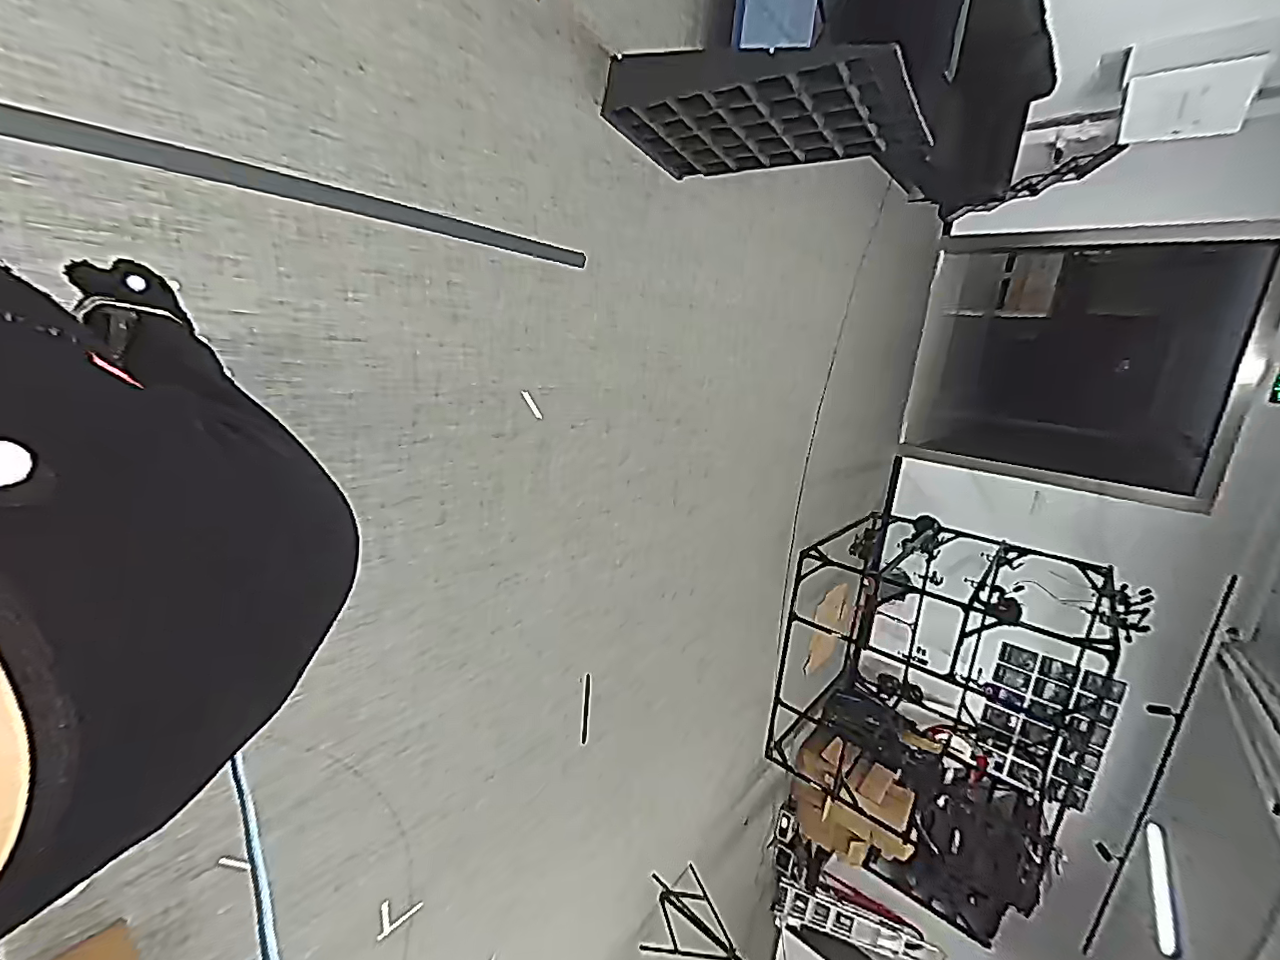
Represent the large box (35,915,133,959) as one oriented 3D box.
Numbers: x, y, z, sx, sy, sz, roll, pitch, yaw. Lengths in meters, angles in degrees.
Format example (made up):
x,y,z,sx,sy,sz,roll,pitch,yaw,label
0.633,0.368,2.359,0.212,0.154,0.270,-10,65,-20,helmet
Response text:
x,y,z,sx,sy,sz,roll,pitch,yaw,label
-1.296,1.267,1.126,0.408,0.320,0.320,-16,115,-48,large box
